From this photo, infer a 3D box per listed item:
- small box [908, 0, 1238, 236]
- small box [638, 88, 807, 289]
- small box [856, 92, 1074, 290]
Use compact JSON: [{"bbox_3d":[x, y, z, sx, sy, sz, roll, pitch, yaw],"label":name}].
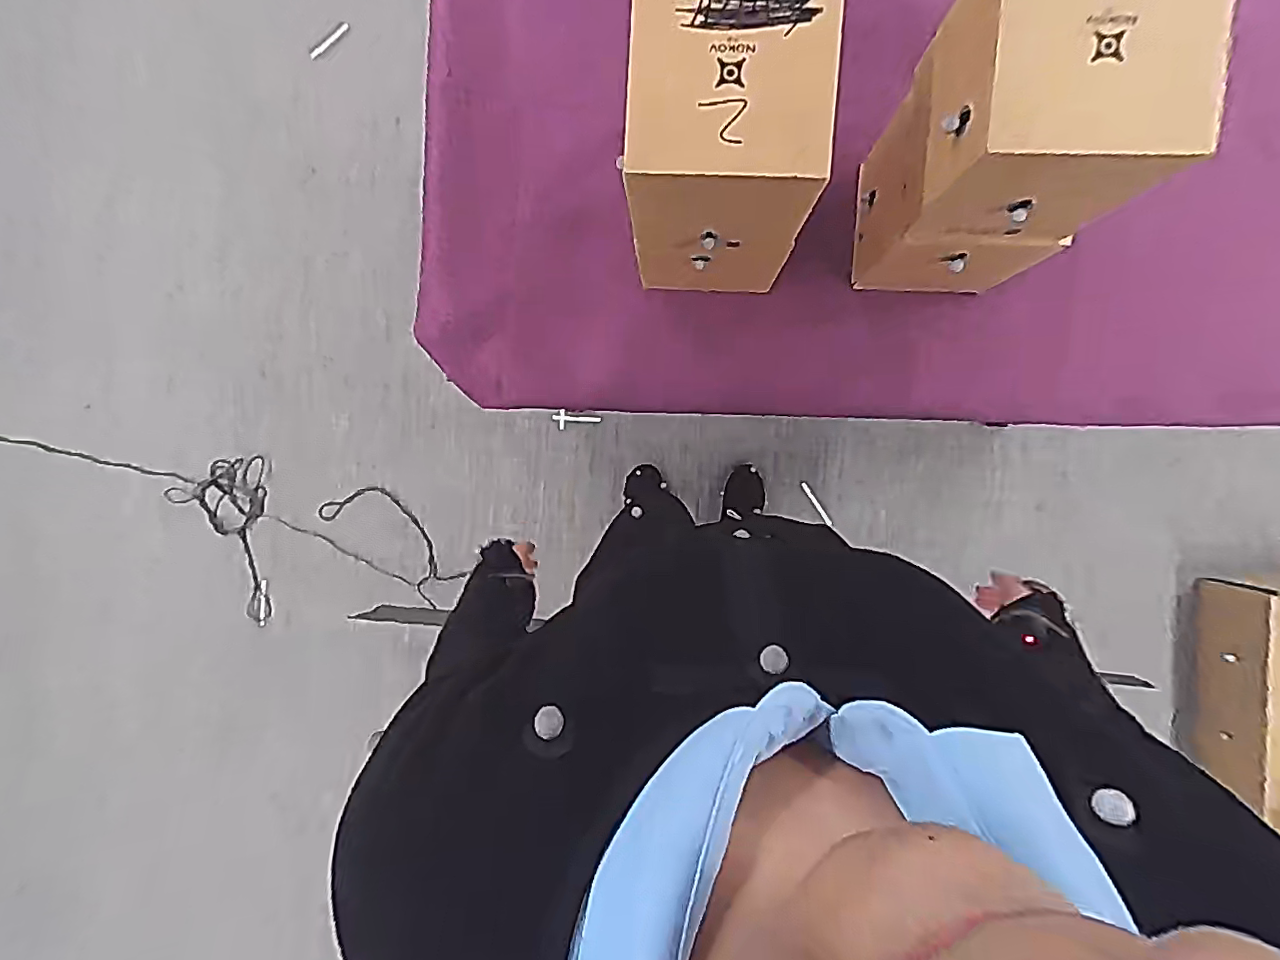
[{"bbox_3d":[0.361,-0.337,0.484,0.168,0.176,0.179,4,93,4],"label":"small box"},{"bbox_3d":[0.095,-0.344,0.668,0.179,0.176,0.168,3,93,3],"label":"small box"},{"bbox_3d":[0.380,-0.336,0.649,0.179,0.176,0.168,4,93,5],"label":"small box"}]
